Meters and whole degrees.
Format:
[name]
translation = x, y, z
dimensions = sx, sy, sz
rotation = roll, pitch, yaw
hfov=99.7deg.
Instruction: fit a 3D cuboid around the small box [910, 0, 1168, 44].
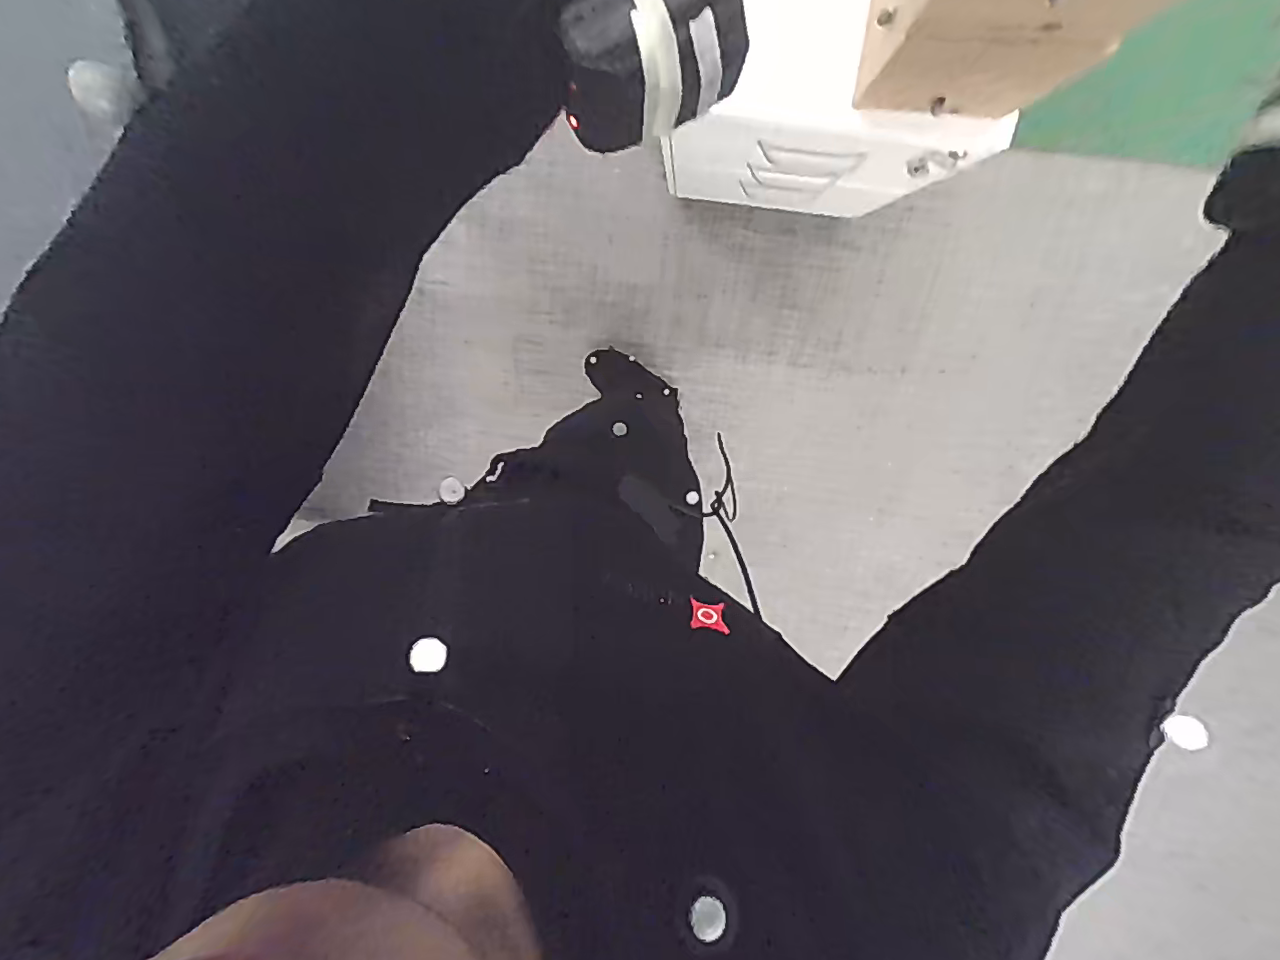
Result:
[small box]
translation = 0.291, -0.406, 0.333
dimensions = 0.168, 0.176, 0.179
rotation = 5, 108, 3
